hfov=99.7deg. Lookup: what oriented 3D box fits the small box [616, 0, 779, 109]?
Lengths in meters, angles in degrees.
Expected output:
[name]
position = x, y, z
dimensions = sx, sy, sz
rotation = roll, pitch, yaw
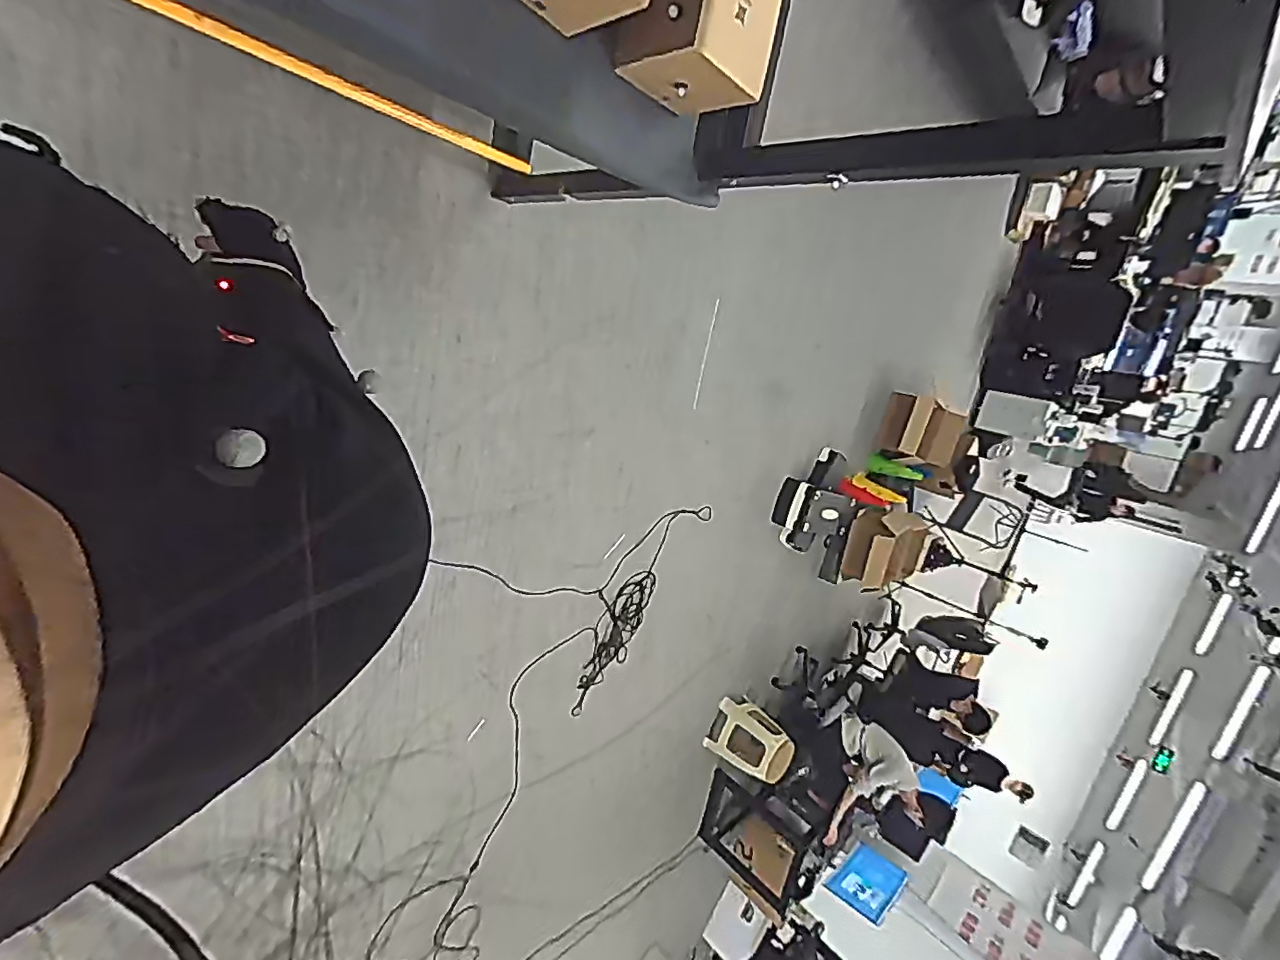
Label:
[small box]
position = 0.084, -0.695, 0.816
dimensions = 0.168, 0.176, 0.179
rotation = -4, 110, -46
